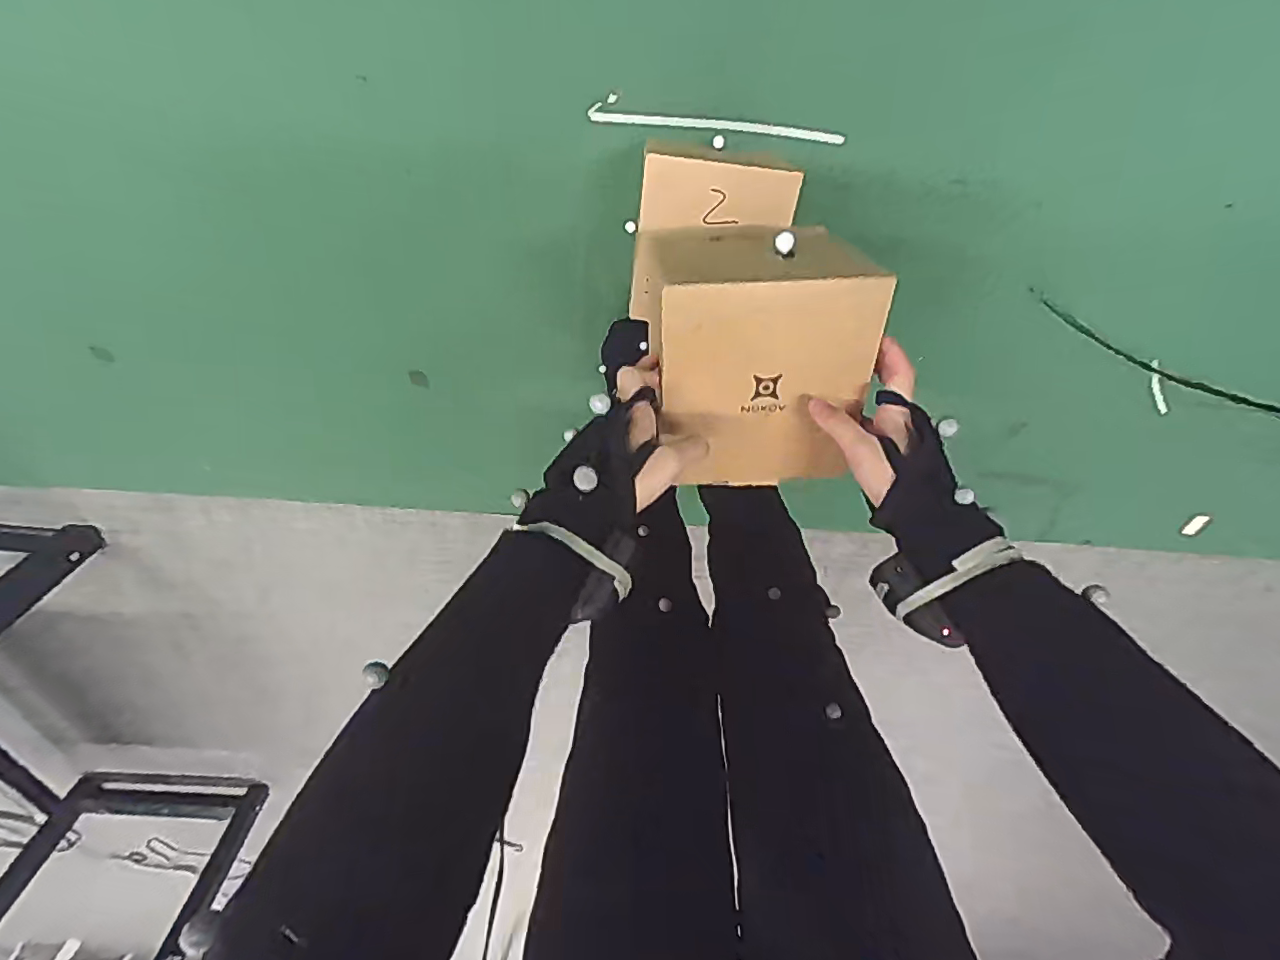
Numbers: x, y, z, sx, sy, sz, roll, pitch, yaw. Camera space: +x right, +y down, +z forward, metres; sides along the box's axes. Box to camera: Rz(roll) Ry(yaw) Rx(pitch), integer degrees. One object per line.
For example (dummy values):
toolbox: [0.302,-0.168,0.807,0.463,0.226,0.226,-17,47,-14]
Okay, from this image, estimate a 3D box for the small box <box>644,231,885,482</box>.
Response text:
small box: [0.090,-0.119,0.488,0.168,0.176,0.179,-2,126,-1]
